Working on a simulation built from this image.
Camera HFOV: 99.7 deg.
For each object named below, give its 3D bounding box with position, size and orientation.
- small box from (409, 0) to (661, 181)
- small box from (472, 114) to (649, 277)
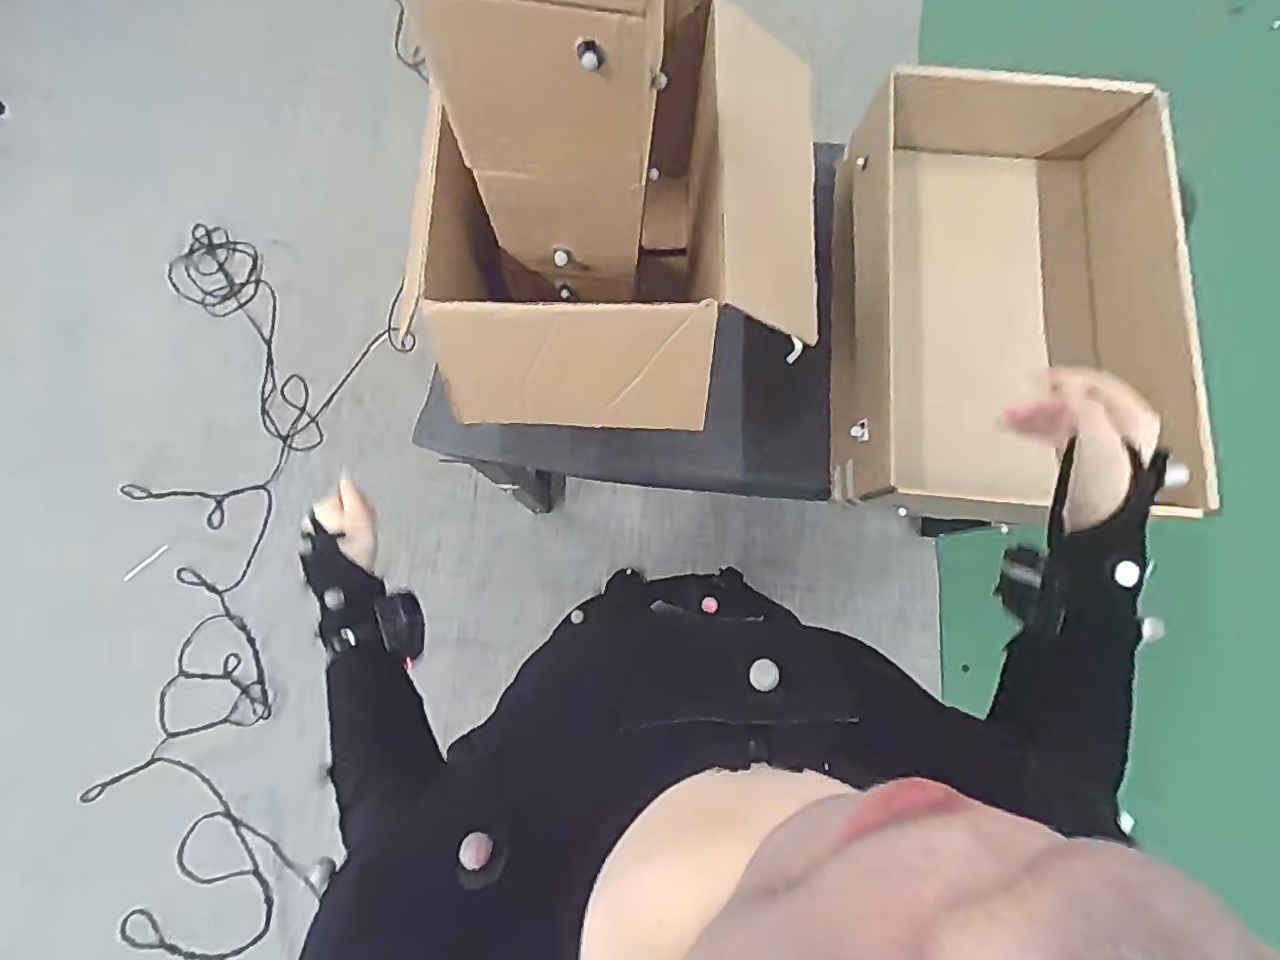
[{"bbox_3d":[-0.076,-0.391,0.464,0.179,0.176,0.168,7,80,-1],"label":"small box"},{"bbox_3d":[-0.080,-0.365,0.624,0.168,0.176,0.179,6,81,-1],"label":"small box"}]
